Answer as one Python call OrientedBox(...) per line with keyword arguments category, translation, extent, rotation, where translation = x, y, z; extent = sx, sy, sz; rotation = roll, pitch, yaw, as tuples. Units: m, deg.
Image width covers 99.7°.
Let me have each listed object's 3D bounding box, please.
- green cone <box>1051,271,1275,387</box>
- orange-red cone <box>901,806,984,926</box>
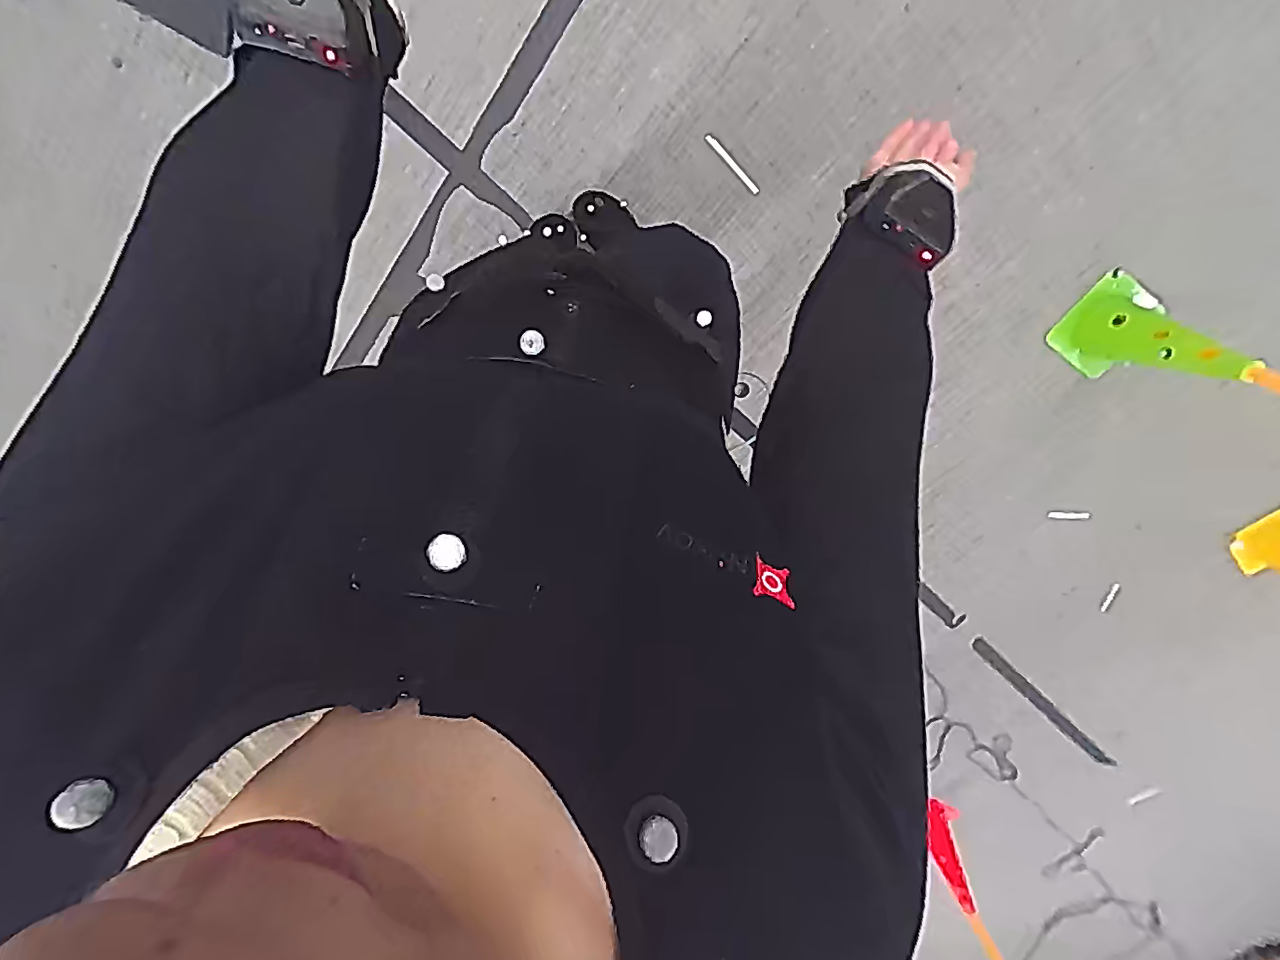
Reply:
OrientedBox(category="green cone", translation=(1.104, -0.272, 1.122), extent=(0.202, 0.368, 0.200), rotation=(27, 116, -16))
OrientedBox(category="orange-red cone", translation=(1.222, 1.513, 2.104), extent=(0.198, 0.360, 0.199), rotation=(33, 112, -18))
